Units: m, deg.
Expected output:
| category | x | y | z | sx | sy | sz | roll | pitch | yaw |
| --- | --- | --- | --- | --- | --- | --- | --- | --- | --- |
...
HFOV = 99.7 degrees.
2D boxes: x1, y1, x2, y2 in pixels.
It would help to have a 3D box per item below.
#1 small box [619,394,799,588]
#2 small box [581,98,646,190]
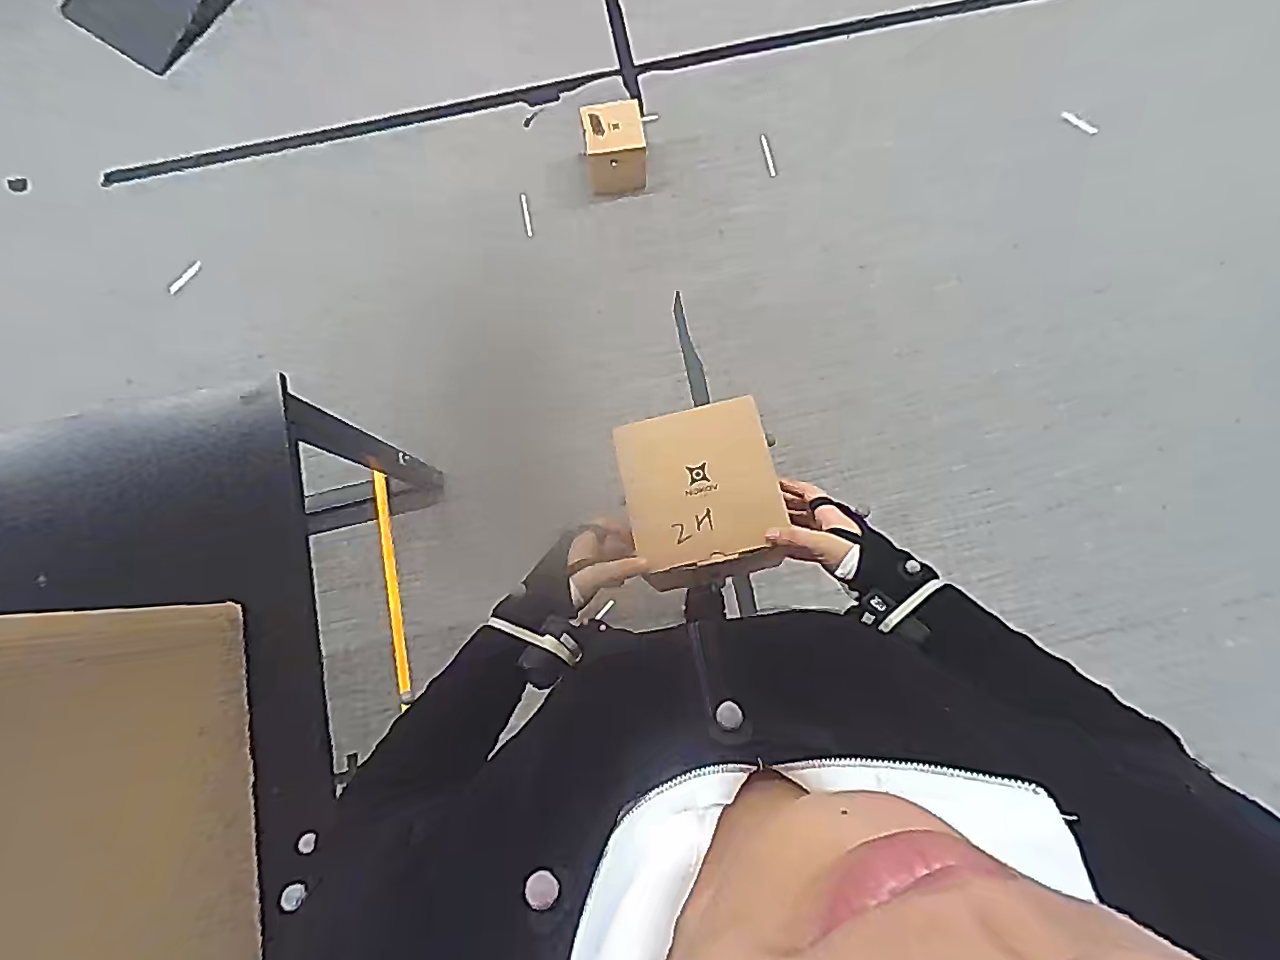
| category | x | y | z | sx | sy | sz | roll | pitch | yaw |
| --- | --- | --- | --- | --- | --- | --- | --- | --- | --- |
| small box | 0.080 | 0.024 | 0.662 | 0.168 | 0.176 | 0.179 | -14 | 72 | 5 |
| small box | -0.077 | -1.019 | 1.656 | 0.179 | 0.176 | 0.168 | -9 | 80 | -2 |
